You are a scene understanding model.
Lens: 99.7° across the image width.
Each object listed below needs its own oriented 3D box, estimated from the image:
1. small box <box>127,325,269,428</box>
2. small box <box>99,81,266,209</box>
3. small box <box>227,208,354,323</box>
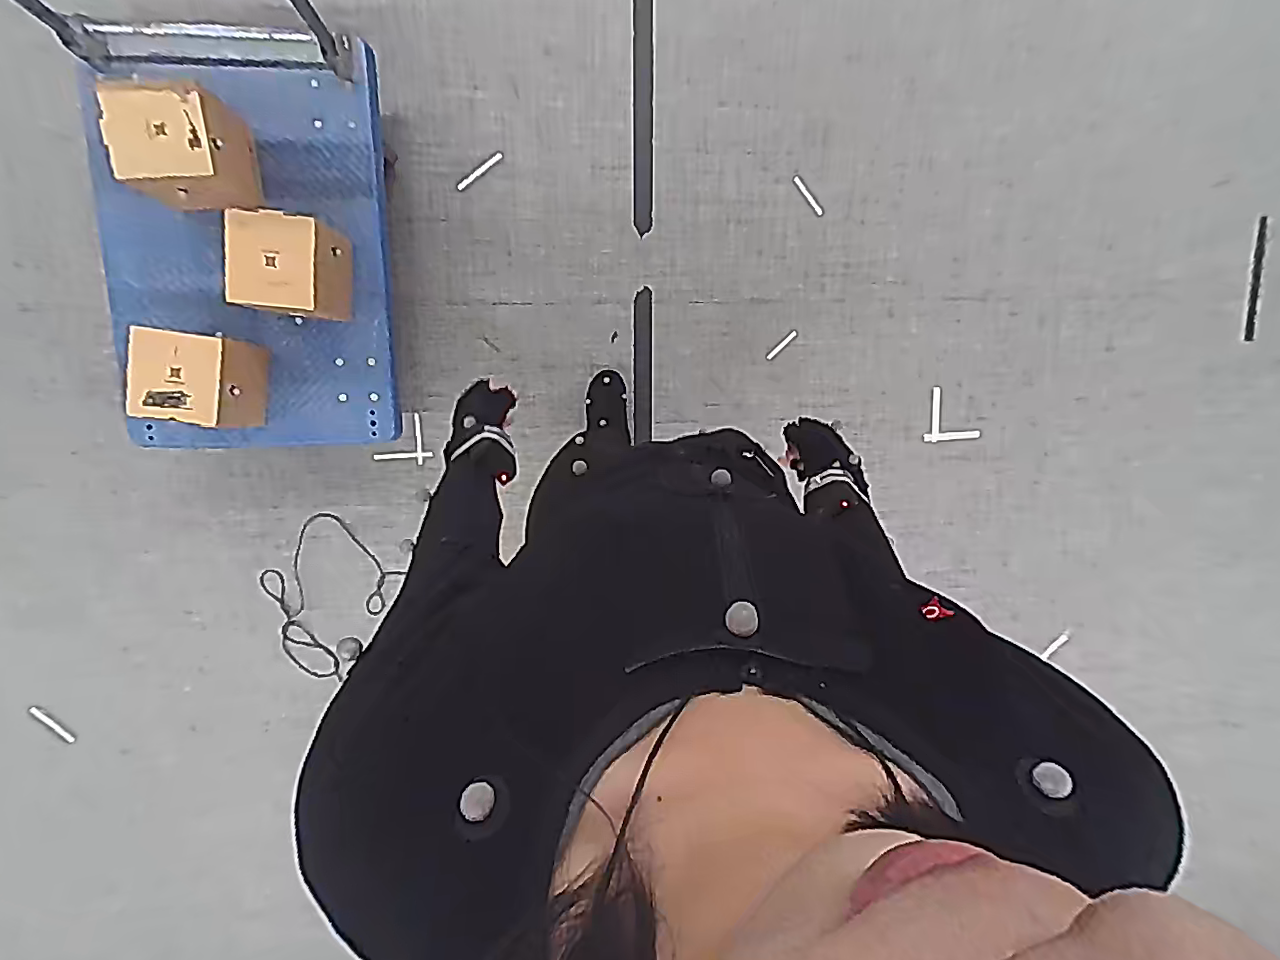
[{"bbox_3d":[-0.908,-0.209,1.125,0.168,0.176,0.179,8,95,-7],"label":"small box"},{"bbox_3d":[-0.891,-0.651,1.069,0.179,0.176,0.168,-5,99,-4],"label":"small box"},{"bbox_3d":[-0.712,-0.433,1.117,0.168,0.176,0.179,4,98,-4],"label":"small box"}]
